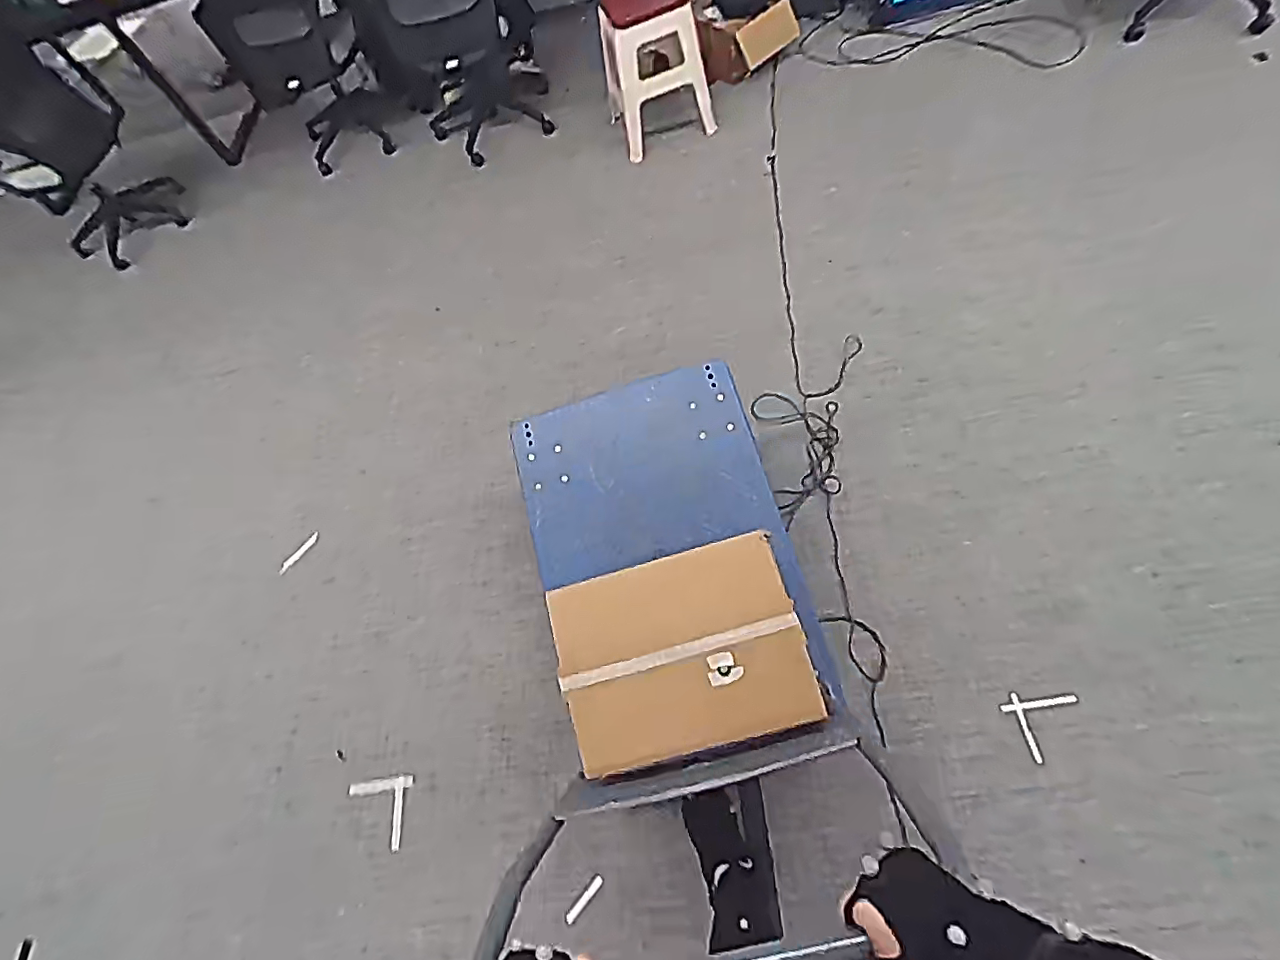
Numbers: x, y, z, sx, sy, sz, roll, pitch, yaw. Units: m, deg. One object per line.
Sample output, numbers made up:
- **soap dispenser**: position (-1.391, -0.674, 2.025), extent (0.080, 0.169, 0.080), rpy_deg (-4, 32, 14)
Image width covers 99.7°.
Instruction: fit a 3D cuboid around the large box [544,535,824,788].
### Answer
- **large box**: position (0.079, 0.331, 1.035), extent (0.408, 0.320, 0.320), rpy_deg (-17, 75, 3)
